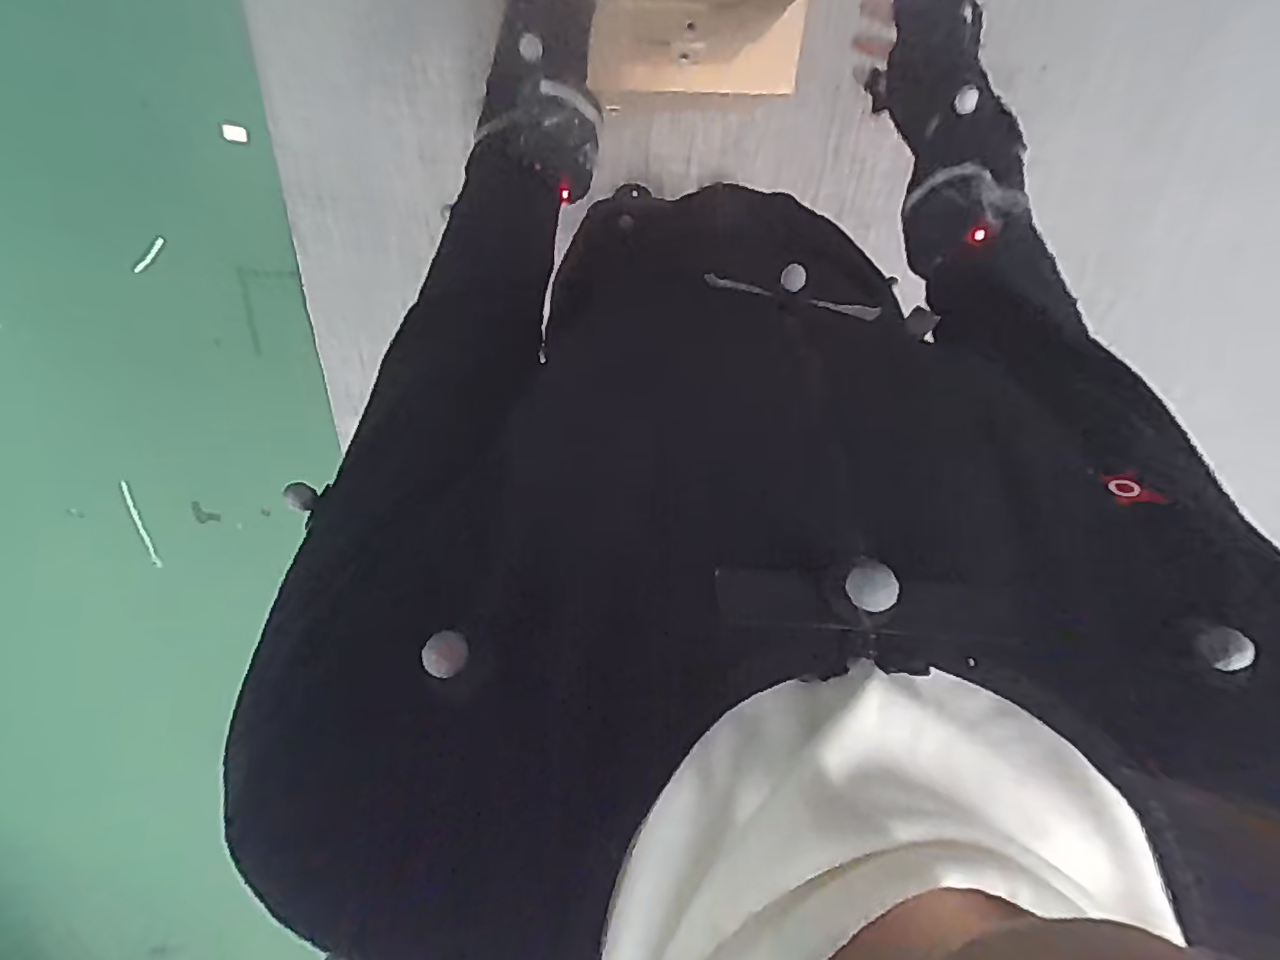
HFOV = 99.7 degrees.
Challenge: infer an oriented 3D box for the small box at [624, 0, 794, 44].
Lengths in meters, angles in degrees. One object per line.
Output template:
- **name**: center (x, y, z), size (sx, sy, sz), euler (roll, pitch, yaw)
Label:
- **small box**: center (0.070, -0.594, 0.586), size (0.179, 0.176, 0.168), euler (-1, 120, 0)

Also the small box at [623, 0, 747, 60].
- **small box**: center (0.063, -0.682, 0.725), size (0.168, 0.176, 0.179), euler (0, 121, 1)
